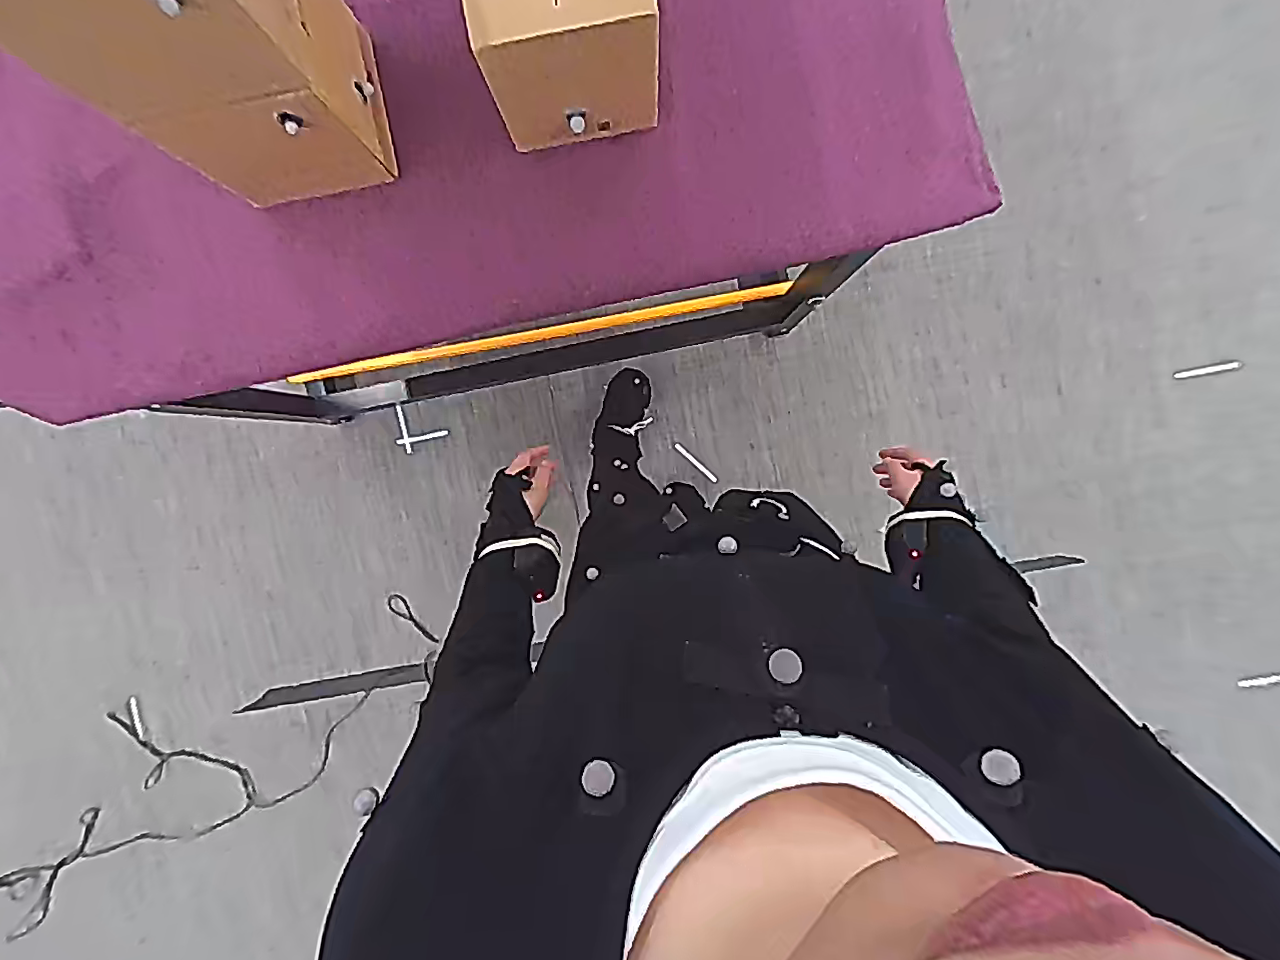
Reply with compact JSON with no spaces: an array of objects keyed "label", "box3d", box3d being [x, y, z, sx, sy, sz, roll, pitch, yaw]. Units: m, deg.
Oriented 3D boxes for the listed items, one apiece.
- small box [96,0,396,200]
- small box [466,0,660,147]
[{"label":"small box","box3d":[-0.383,-0.413,0.549,0.179,0.176,0.168,-11,93,1]},{"label":"small box","box3d":[-0.075,-0.475,0.539,0.168,0.176,0.179,-9,93,2]}]
